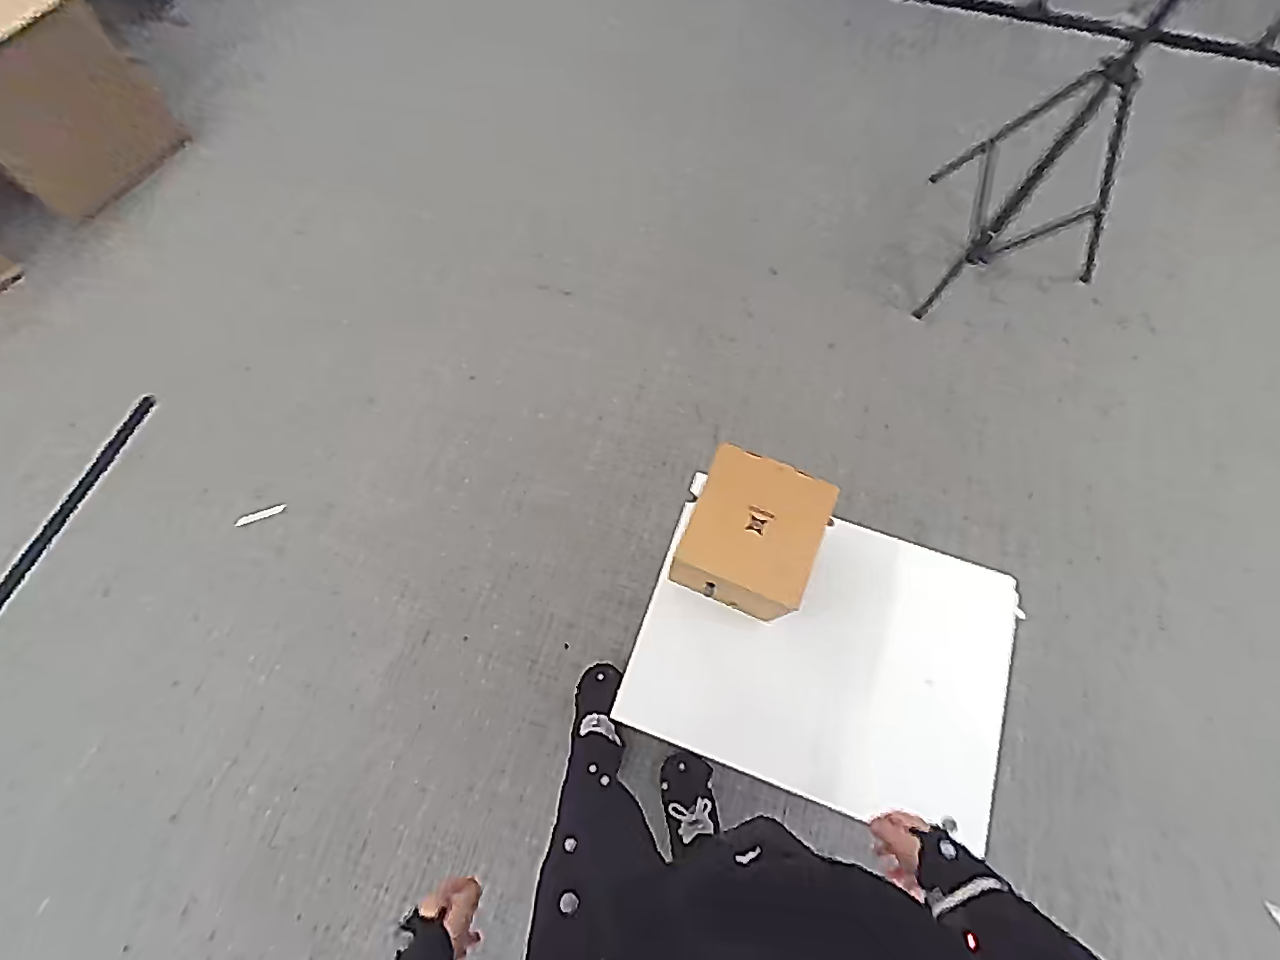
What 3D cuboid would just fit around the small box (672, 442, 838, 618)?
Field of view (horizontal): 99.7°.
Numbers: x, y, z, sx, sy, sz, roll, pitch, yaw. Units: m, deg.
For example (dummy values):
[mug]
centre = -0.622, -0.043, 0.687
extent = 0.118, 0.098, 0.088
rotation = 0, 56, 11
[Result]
[small box]
centre = 0.152, 0.080, 0.764
extent = 0.168, 0.176, 0.179
rotation = 23, 71, 8
